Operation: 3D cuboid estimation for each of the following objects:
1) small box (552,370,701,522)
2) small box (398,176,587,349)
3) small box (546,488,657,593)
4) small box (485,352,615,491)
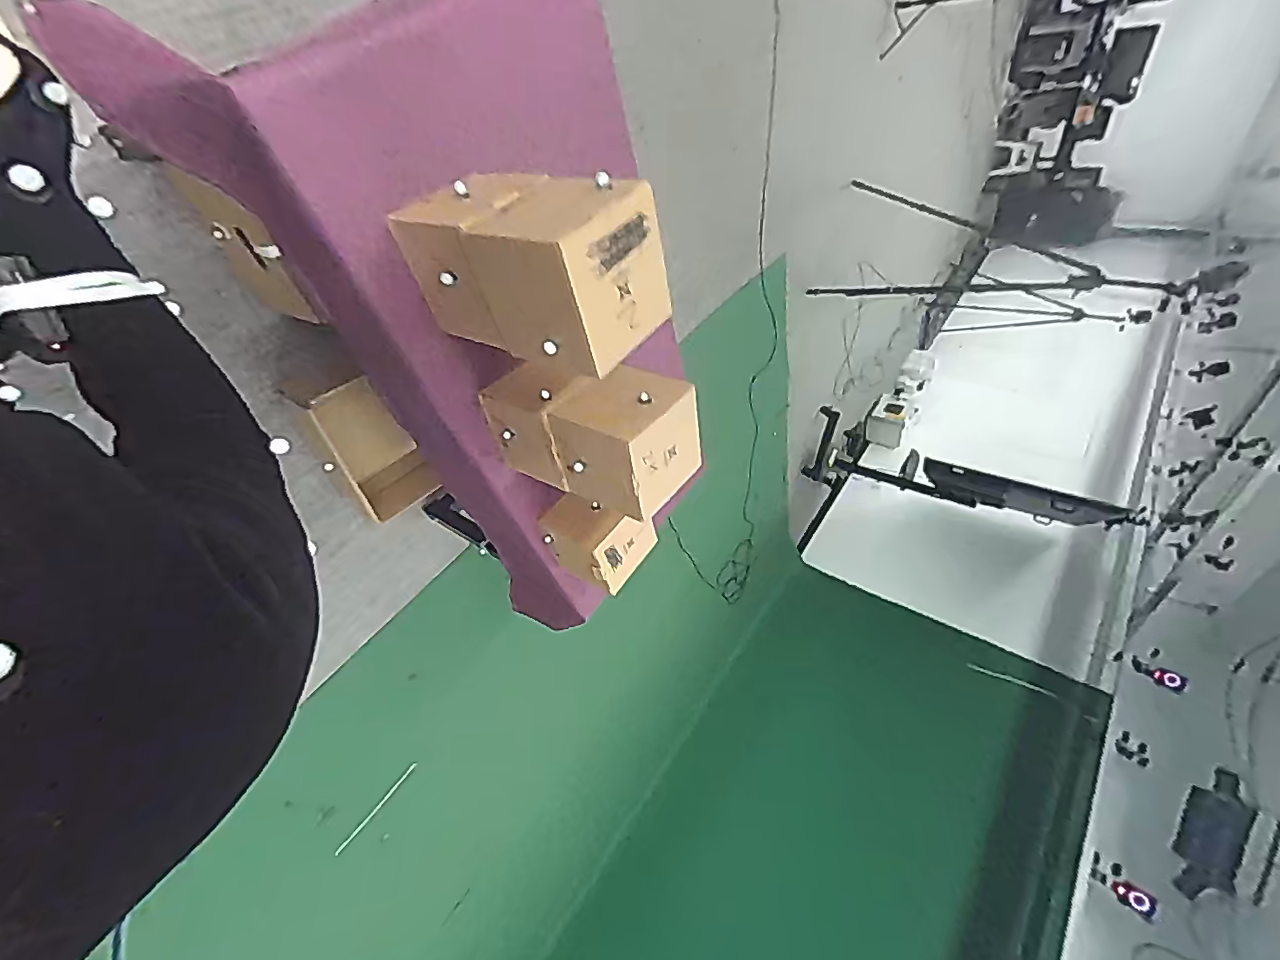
[{"bbox_3d":[-0.017,-0.066,0.908,0.179,0.176,0.168,-42,139,-33],"label":"small box"},{"bbox_3d":[-0.211,-0.317,0.783,0.168,0.176,0.179,-47,141,-28],"label":"small box"},{"bbox_3d":[-0.090,0.114,1.210,0.179,0.176,0.168,-48,142,-29],"label":"small box"},{"bbox_3d":[-0.150,-0.115,0.993,0.179,0.176,0.168,-43,140,-32],"label":"small box"}]
